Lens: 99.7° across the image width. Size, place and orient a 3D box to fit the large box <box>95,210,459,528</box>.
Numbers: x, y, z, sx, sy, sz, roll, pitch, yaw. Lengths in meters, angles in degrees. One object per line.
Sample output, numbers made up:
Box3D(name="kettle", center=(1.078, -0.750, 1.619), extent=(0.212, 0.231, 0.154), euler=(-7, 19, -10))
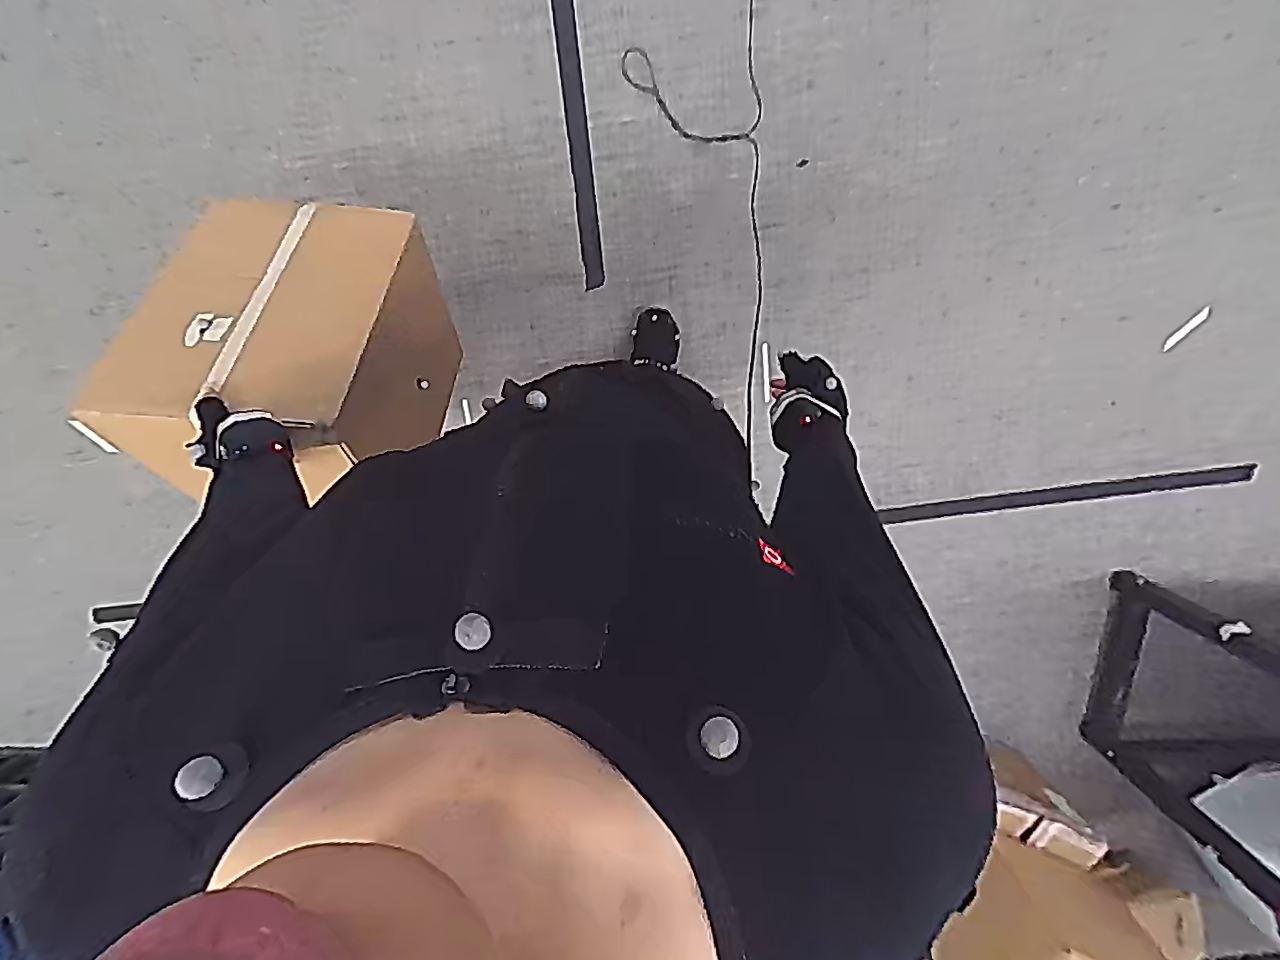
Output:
Box3D(name="large box", center=(-0.515, -0.171, 0.884), extent=(0.320, 0.320, 0.408), euler=(3, 61, -1))
